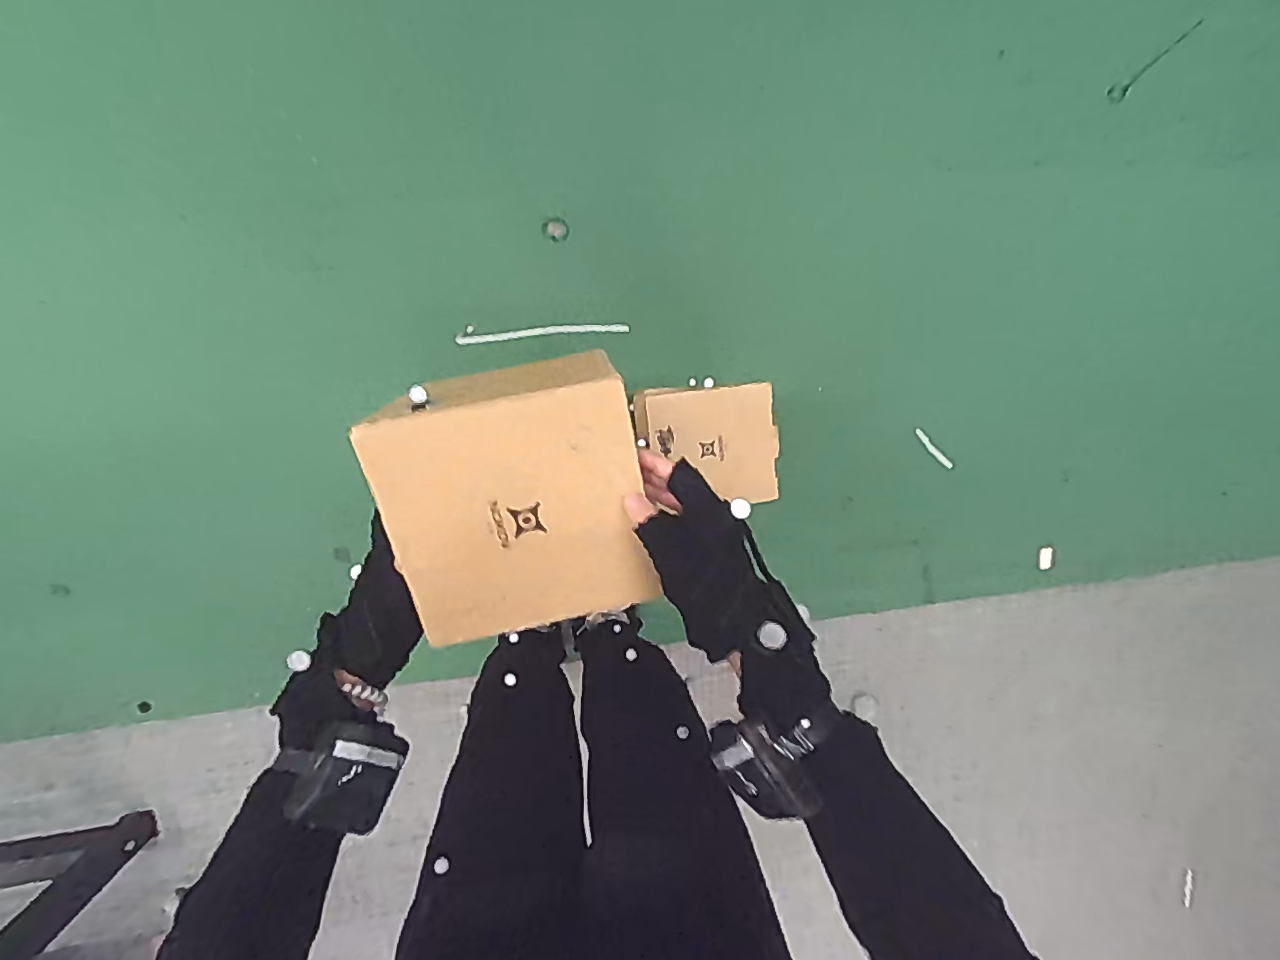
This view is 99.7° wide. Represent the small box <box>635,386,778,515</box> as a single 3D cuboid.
[{"bbox_3d":[0.094,-0.053,0.821,0.179,0.176,0.168,-7,100,-6],"label":"small box"}]
